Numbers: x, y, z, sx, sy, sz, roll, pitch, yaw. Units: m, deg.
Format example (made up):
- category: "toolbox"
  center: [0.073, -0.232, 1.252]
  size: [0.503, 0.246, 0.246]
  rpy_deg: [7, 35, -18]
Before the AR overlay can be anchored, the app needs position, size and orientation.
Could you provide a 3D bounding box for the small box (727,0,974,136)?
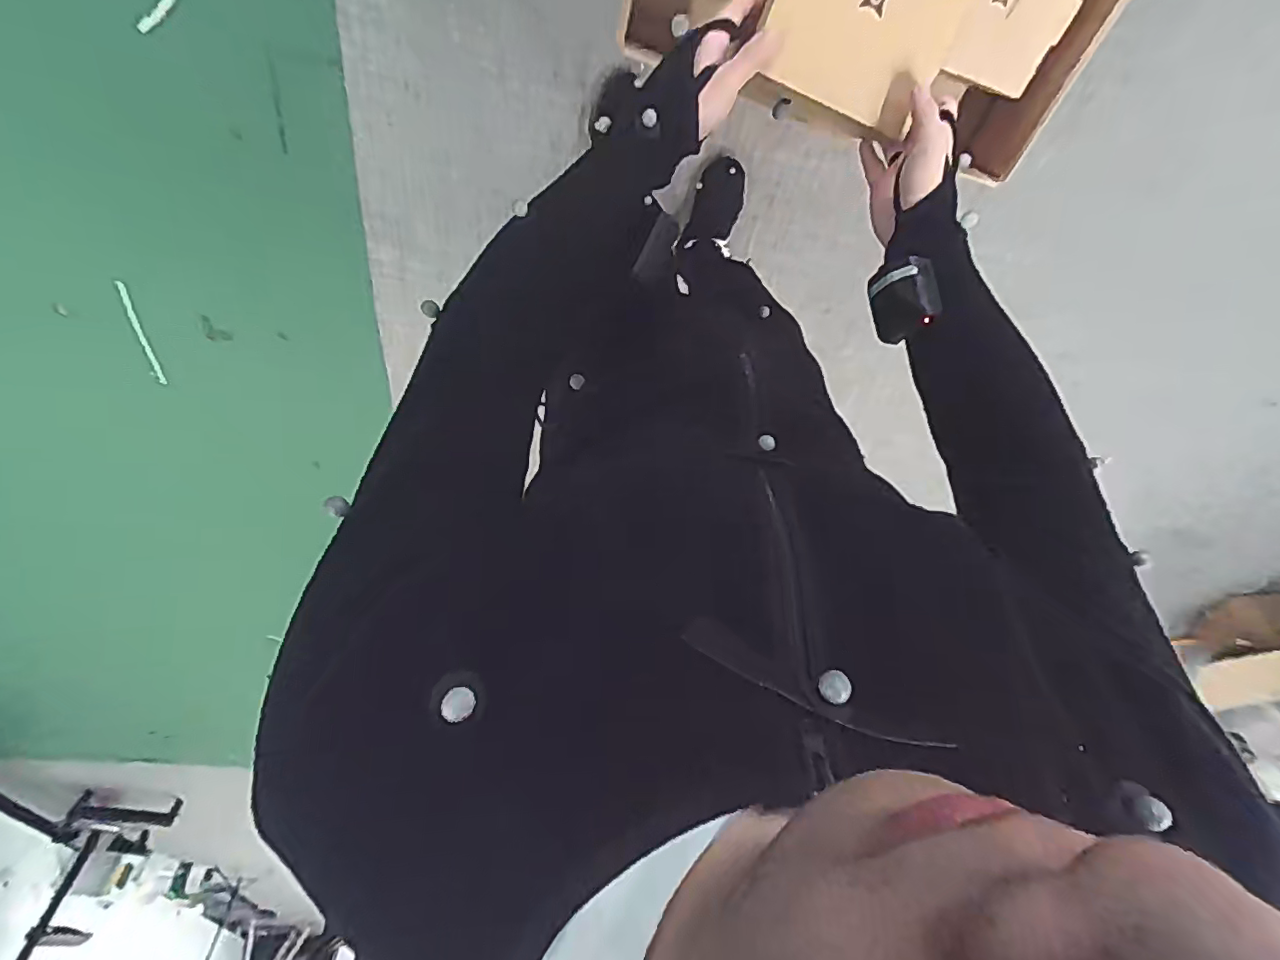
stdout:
- category: "small box"
  center: [0.195, -0.456, 0.518]
  size: [0.168, 0.176, 0.179]
  rpy_deg: [15, 119, -13]
